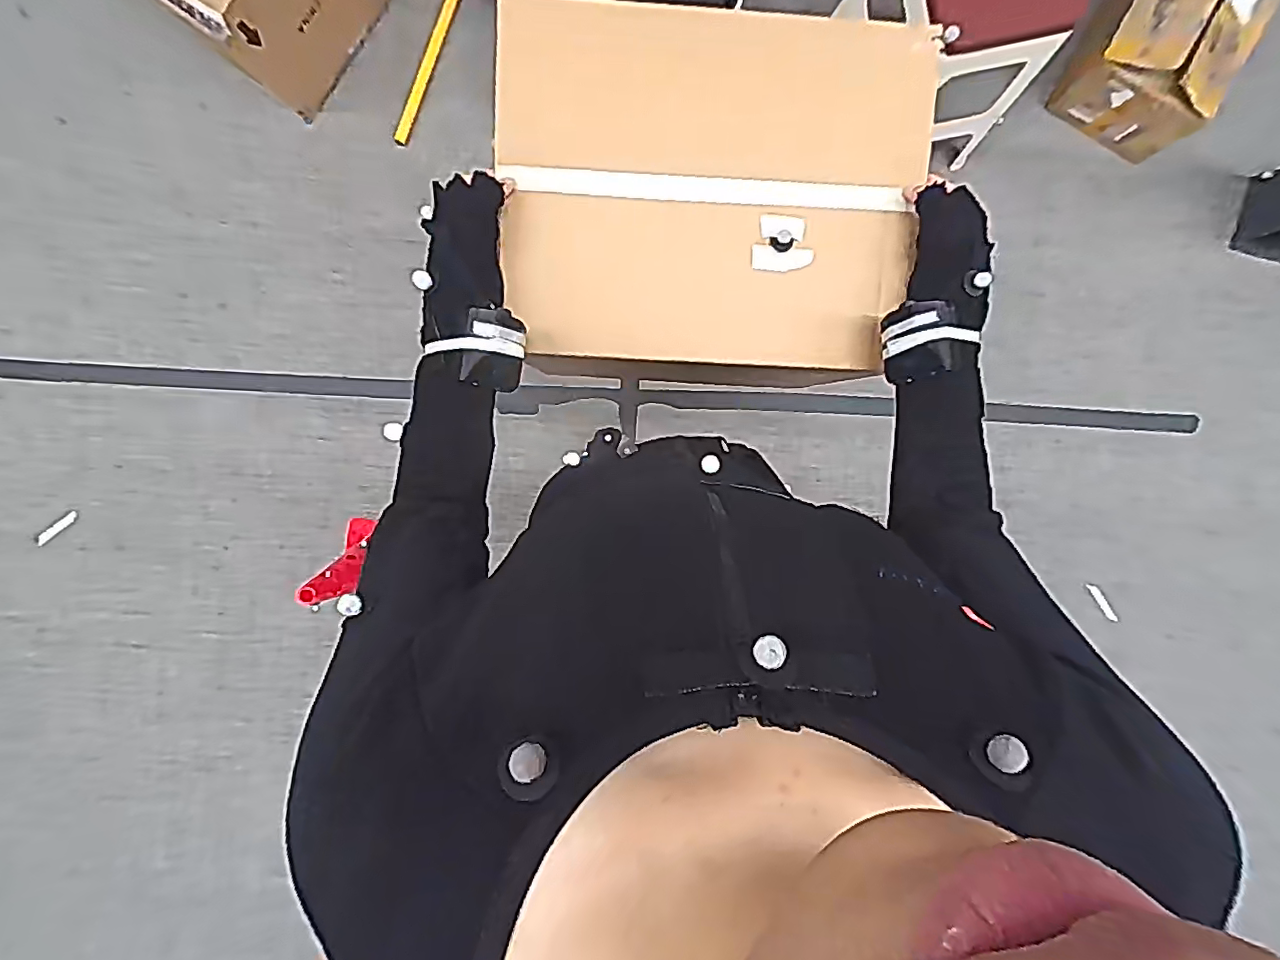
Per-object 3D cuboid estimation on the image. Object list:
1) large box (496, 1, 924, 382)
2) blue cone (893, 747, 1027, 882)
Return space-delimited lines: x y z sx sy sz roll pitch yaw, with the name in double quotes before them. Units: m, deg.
"large box" 0.056 -0.290 0.658 0.408 0.320 0.320 2 97 -3
"blue cone" 0.839 0.879 1.405 0.192 0.380 0.193 6 94 -3
